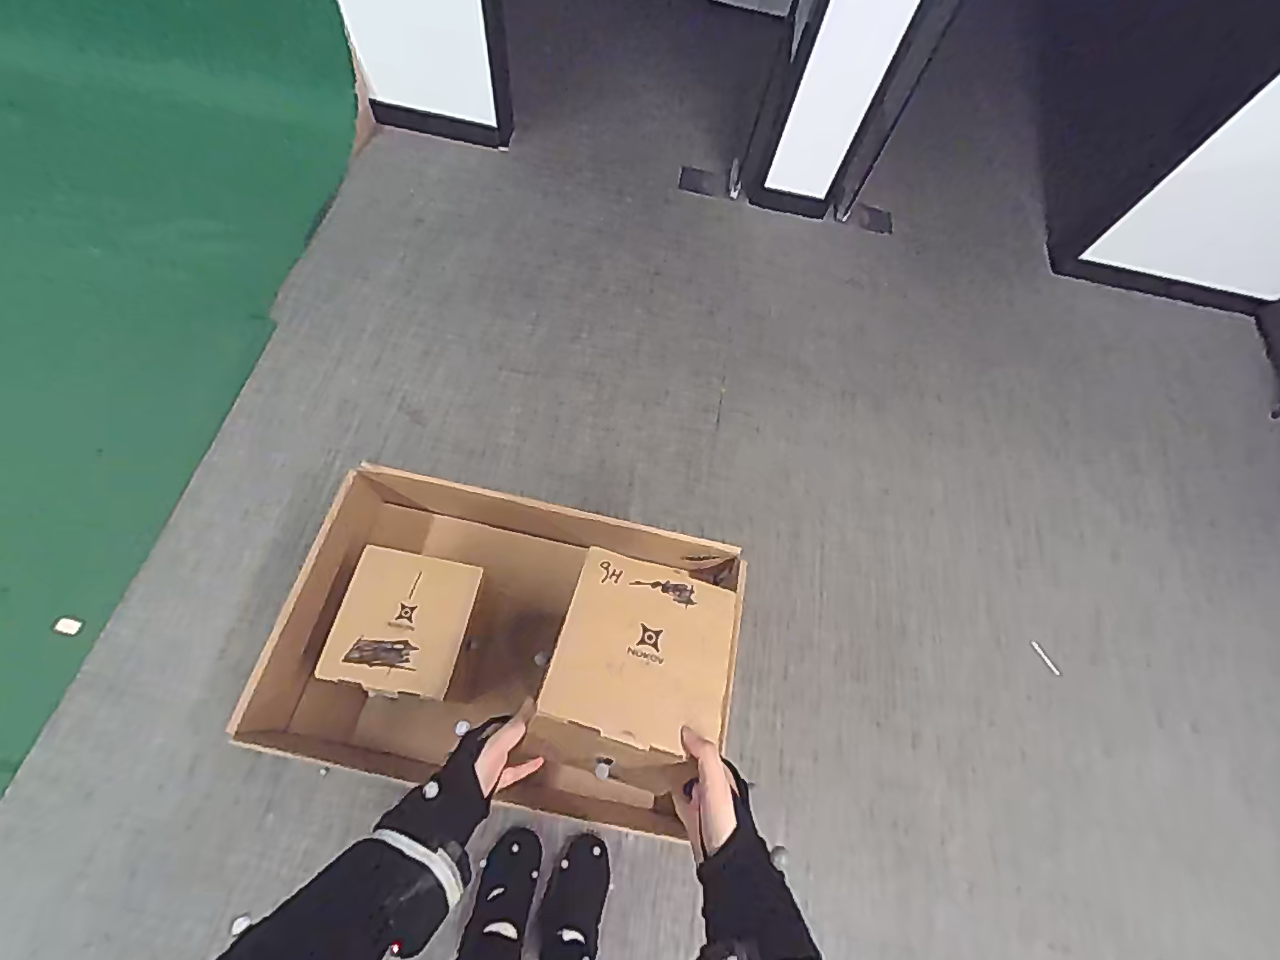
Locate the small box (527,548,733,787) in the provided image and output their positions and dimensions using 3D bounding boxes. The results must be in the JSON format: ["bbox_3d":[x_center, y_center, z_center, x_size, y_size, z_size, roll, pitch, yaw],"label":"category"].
[{"bbox_3d":[-0.015,0.208,0.583,0.168,0.176,0.179,19,51,-2],"label":"small box"}]
